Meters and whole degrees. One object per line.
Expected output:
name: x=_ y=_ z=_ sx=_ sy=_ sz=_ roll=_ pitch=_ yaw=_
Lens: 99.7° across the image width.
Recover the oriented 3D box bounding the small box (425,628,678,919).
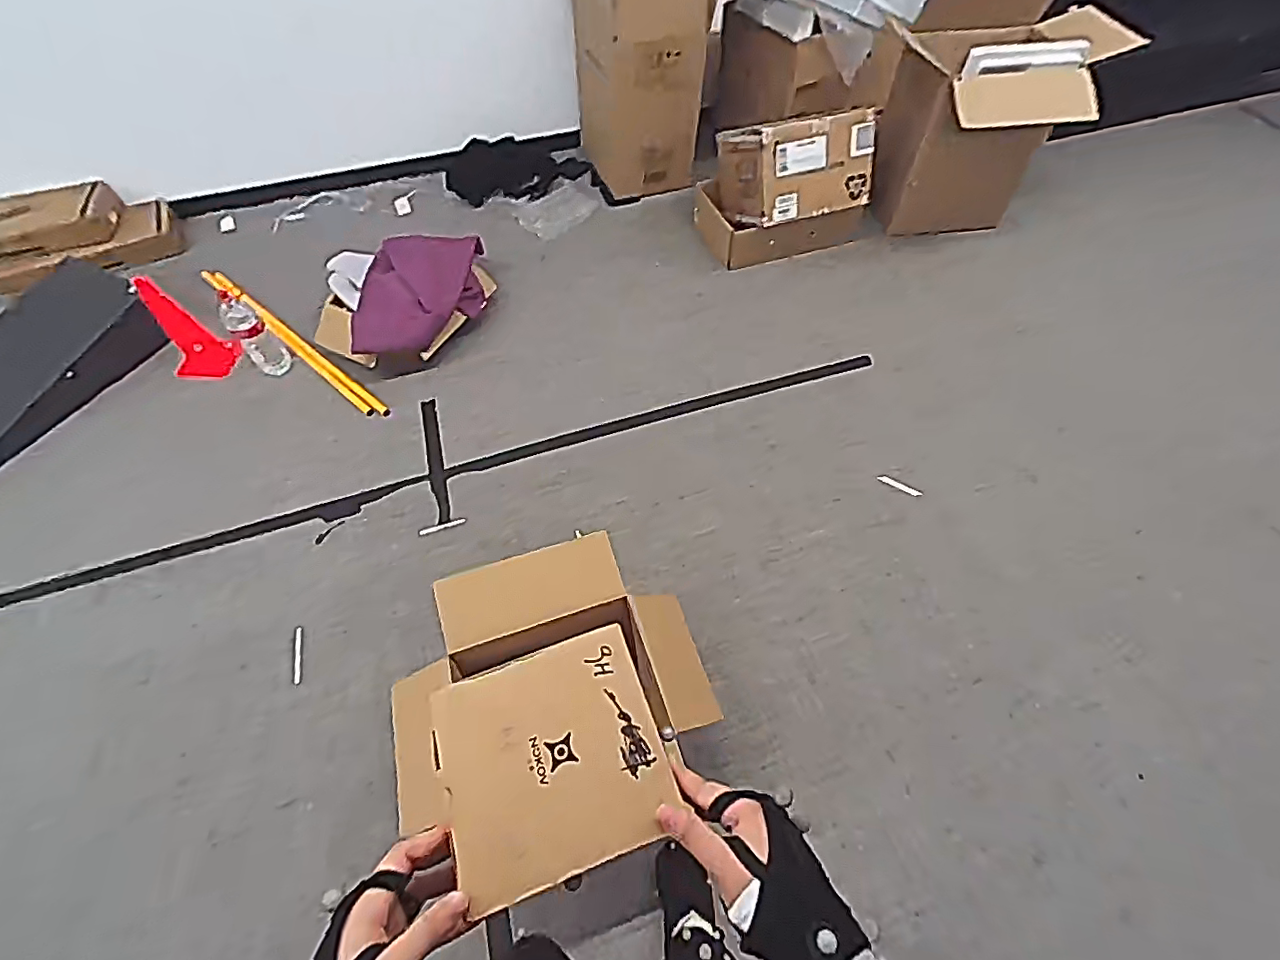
small box: x=-0.074 y=0.266 z=0.507 sx=0.179 sy=0.176 sz=0.168 roll=-19 pitch=62 yaw=-9
